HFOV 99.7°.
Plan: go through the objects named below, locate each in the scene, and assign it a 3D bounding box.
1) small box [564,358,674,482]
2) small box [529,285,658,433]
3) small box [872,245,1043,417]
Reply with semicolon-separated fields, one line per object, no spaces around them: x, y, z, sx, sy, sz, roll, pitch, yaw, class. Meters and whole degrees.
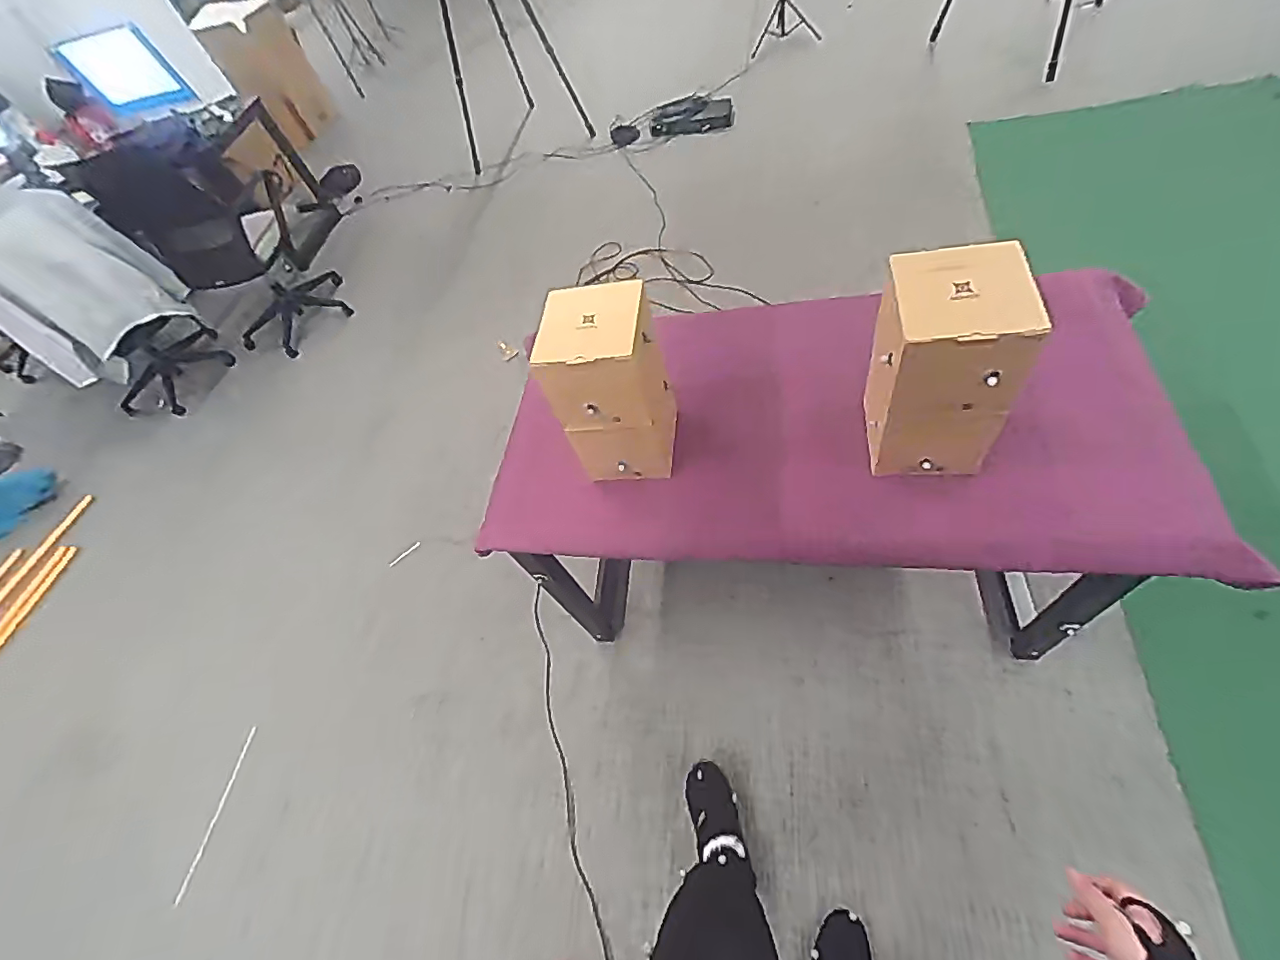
-0.031;-0.112;1.054;0.168;0.176;0.179;-2;57;15;small box
-0.067;-0.201;0.922;0.168;0.176;0.179;-2;57;14;small box
0.438;-0.203;0.779;0.168;0.176;0.179;-1;57;15;small box
